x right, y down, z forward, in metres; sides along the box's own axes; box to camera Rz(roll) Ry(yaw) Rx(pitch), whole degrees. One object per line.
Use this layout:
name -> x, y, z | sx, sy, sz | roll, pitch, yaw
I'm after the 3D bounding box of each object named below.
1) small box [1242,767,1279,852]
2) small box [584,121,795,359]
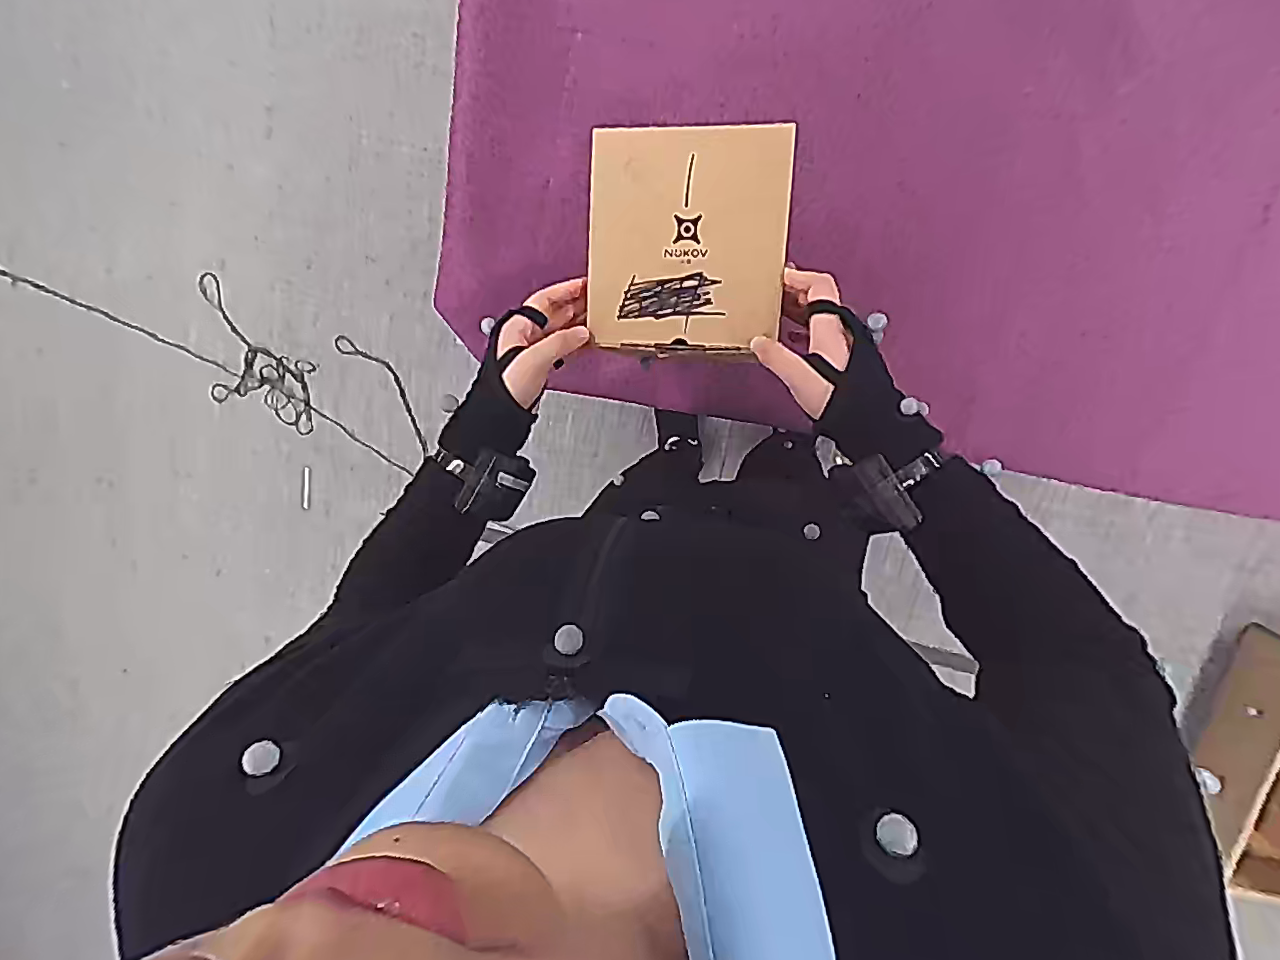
small box -> 1.597, 0.804, 1.257 | 0.179, 0.176, 0.168 | 8, 104, 9
small box -> 0.048, -0.213, 0.524 | 0.168, 0.176, 0.179 | 5, 99, 8
